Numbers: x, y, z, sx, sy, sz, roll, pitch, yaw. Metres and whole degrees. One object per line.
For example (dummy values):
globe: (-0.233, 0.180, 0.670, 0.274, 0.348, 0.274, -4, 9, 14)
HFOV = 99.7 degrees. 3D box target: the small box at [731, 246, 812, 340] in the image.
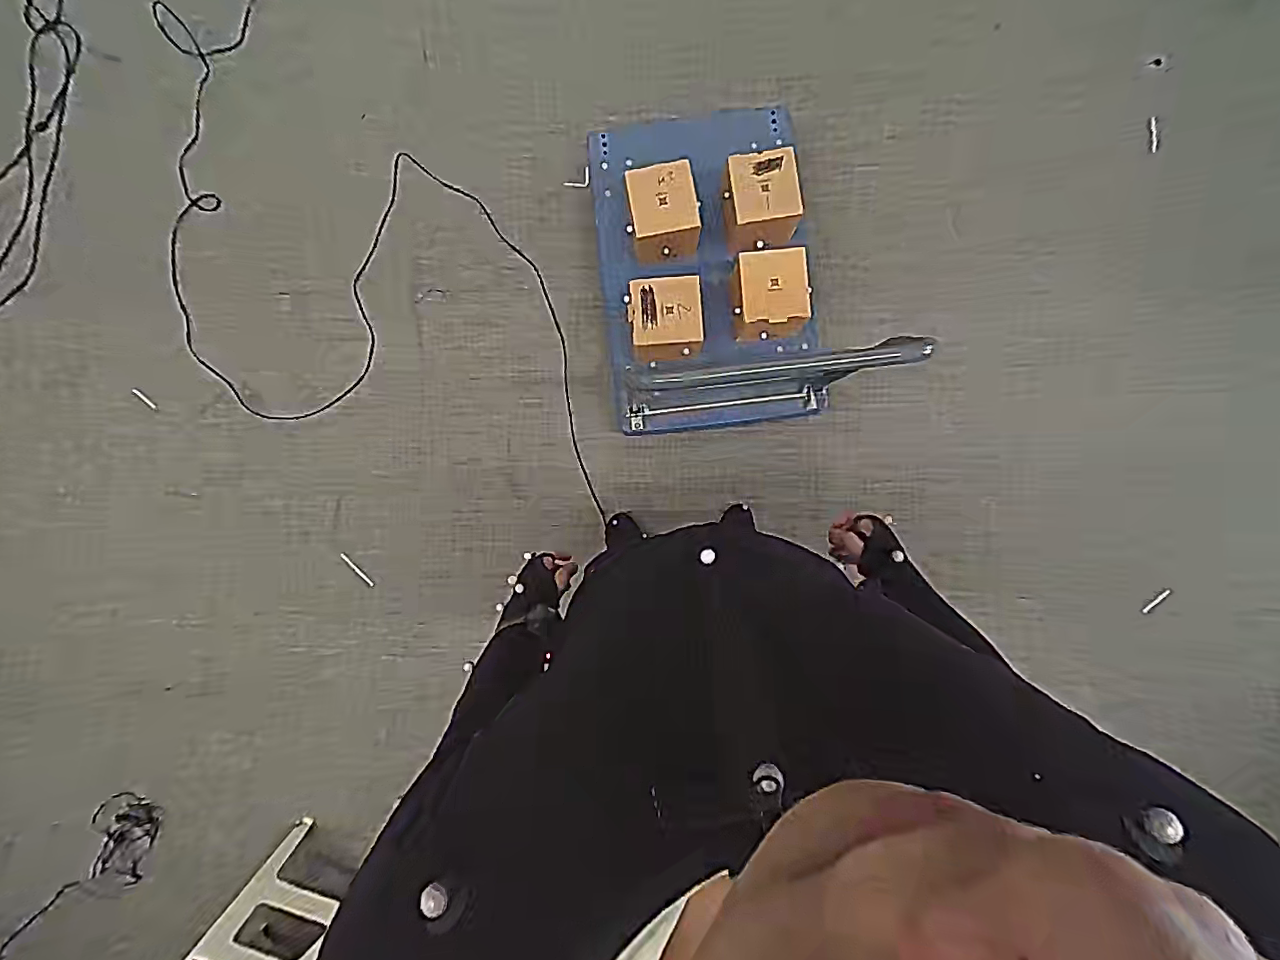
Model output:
small box: (0.334, -0.477, 1.401, 0.168, 0.176, 0.179, -5, 87, 2)

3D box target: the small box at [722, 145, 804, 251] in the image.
small box: (0.313, -0.725, 1.406, 0.168, 0.176, 0.179, -8, 89, 2)

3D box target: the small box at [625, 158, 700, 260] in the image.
small box: (0.059, -0.696, 1.413, 0.168, 0.176, 0.179, -10, 88, 1)
